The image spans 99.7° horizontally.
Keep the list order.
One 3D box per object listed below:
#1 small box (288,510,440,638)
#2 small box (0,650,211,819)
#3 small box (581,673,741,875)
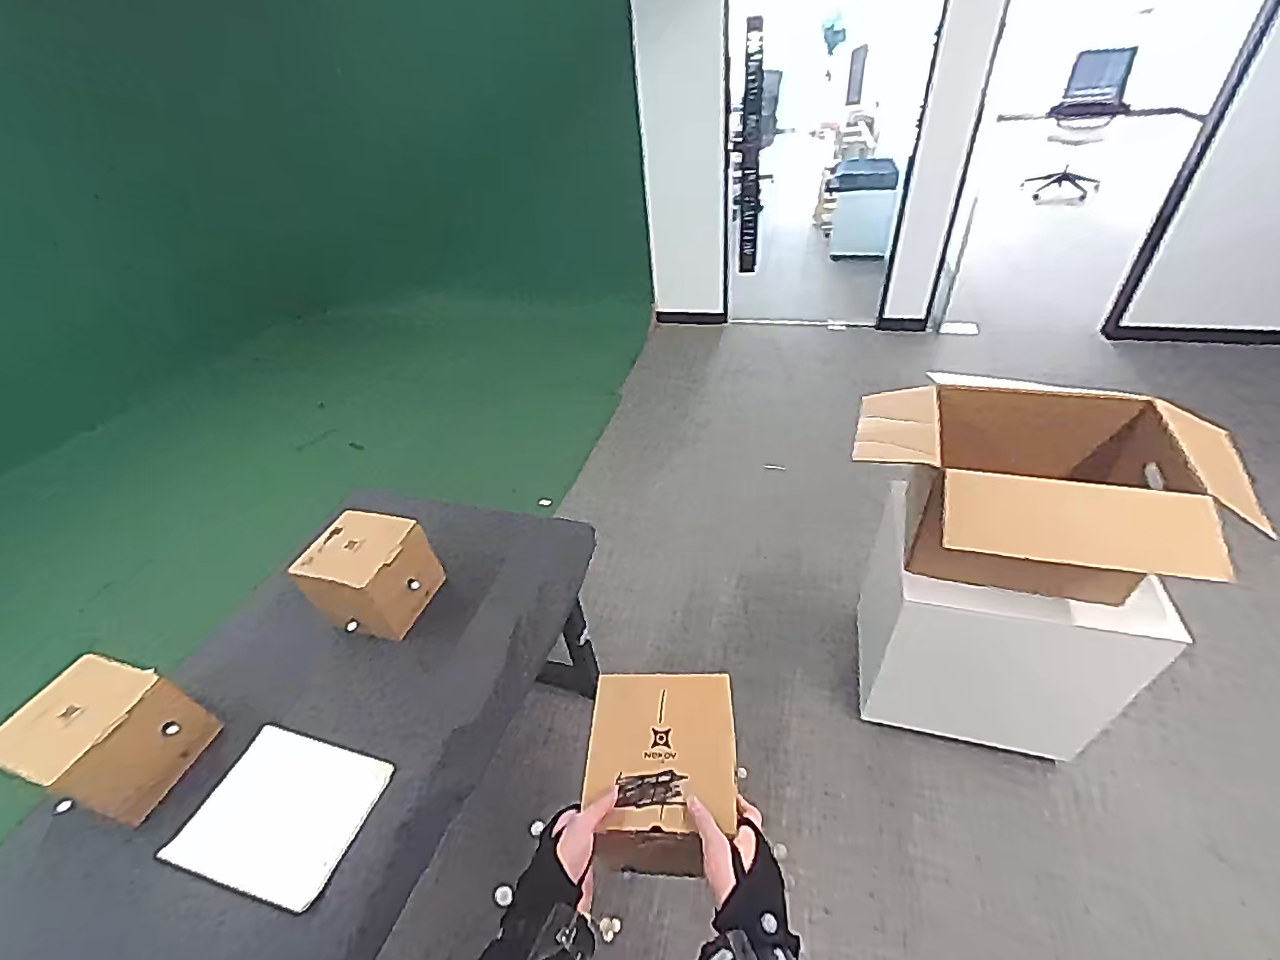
[{"bbox_3d":[-0.525,0.186,1.060,0.179,0.176,0.168,8,43,15],"label":"small box"},{"bbox_3d":[-0.832,0.395,0.838,0.179,0.176,0.168,6,41,16],"label":"small box"},{"bbox_3d":[0.036,0.361,0.665,0.168,0.176,0.179,-2,41,9],"label":"small box"}]
